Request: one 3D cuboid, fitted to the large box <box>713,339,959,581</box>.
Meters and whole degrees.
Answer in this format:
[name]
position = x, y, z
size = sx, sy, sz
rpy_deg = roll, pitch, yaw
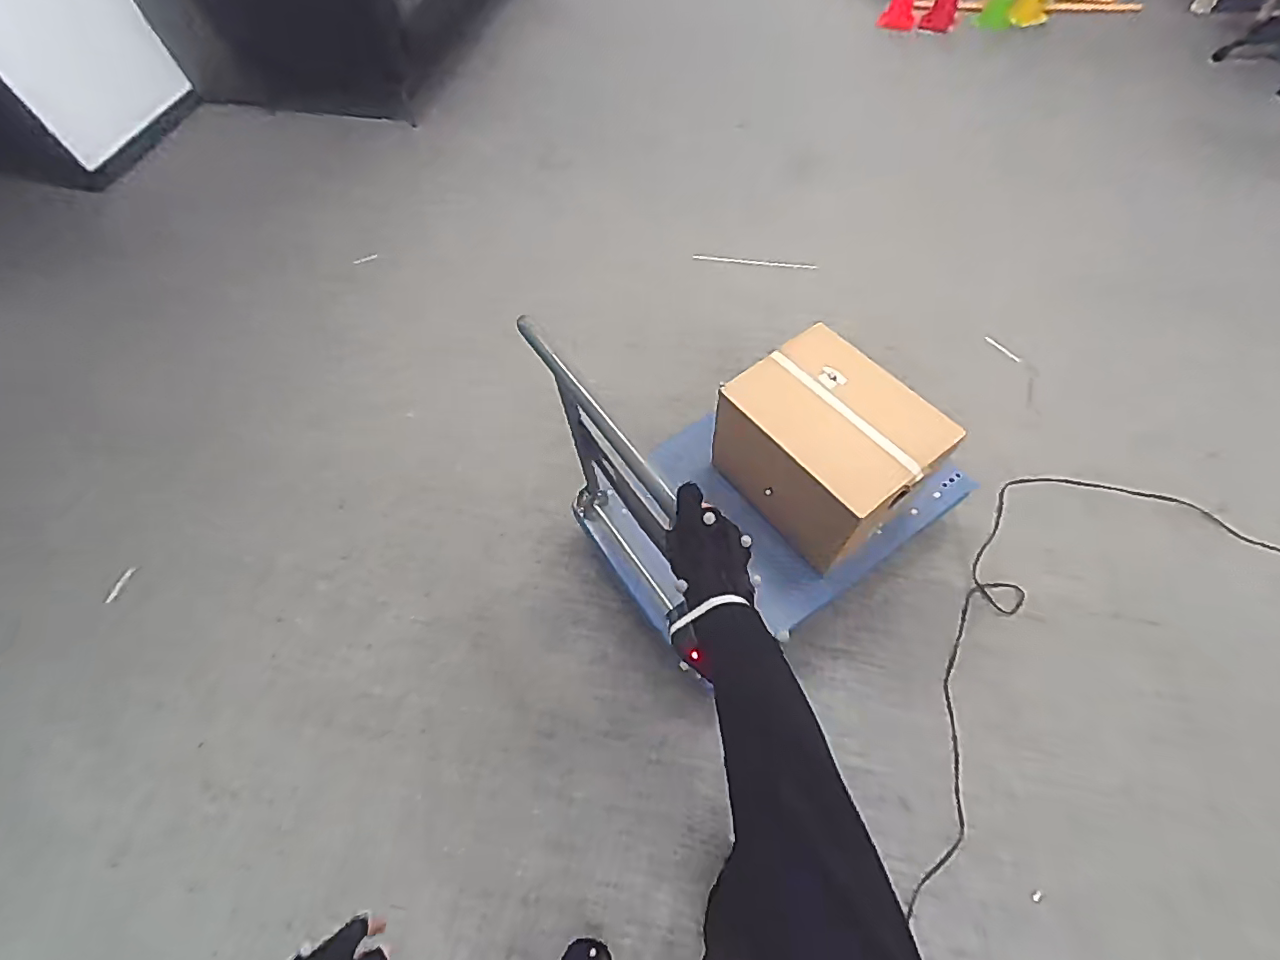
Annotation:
[large box]
position = 0.420, -0.044, 1.266
size = 0.320, 0.320, 0.408
rpy_deg = -34, 62, -17
